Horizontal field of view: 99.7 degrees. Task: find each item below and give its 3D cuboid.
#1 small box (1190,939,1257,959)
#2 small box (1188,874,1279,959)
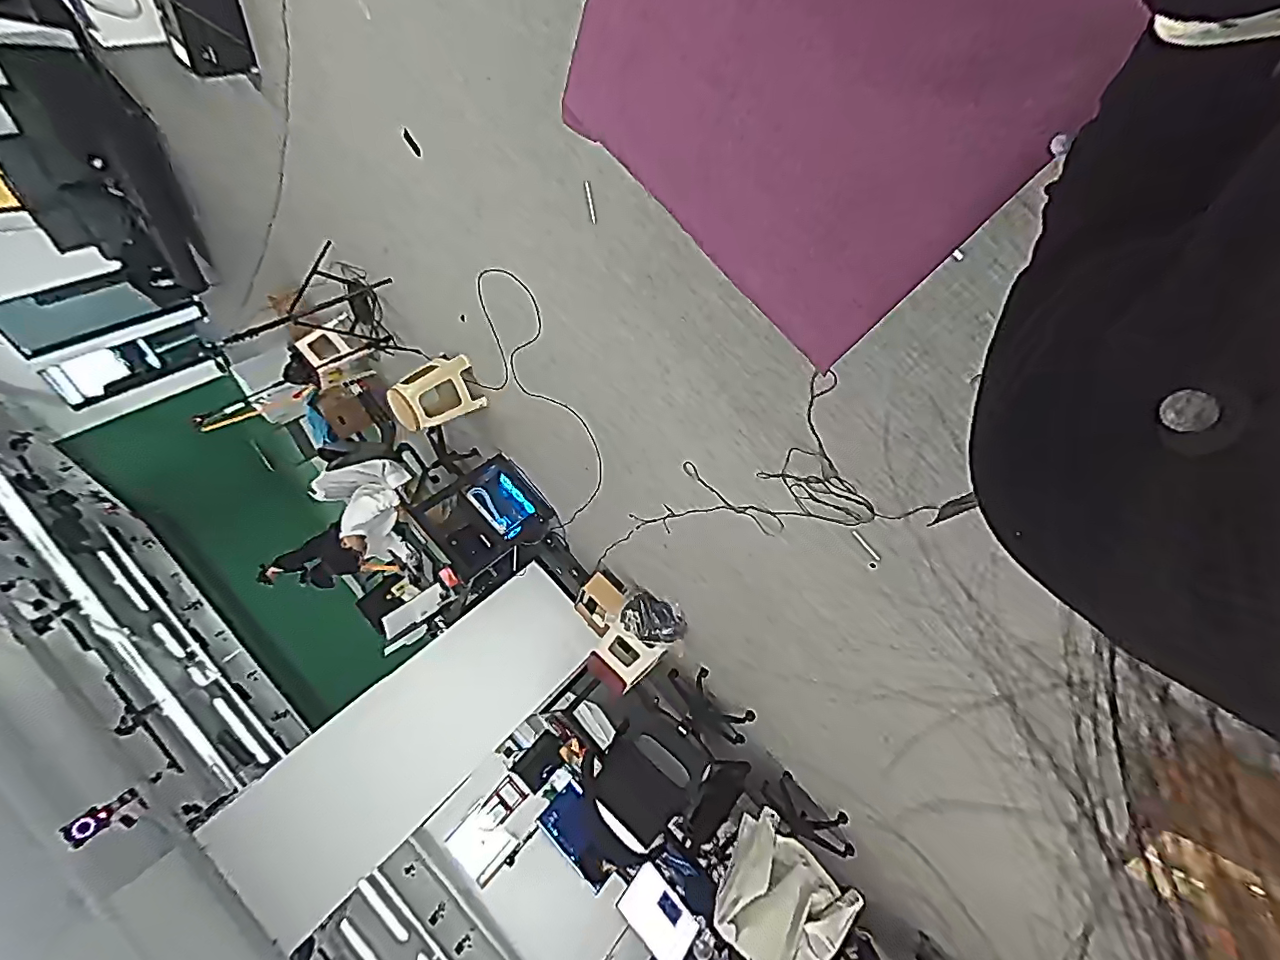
[{"bbox_3d":[1.398,1.221,1.245,0.168,0.176,0.179,22,138,37],"label":"small box"},{"bbox_3d":[1.505,1.131,1.331,0.168,0.176,0.179,22,137,38],"label":"small box"}]
